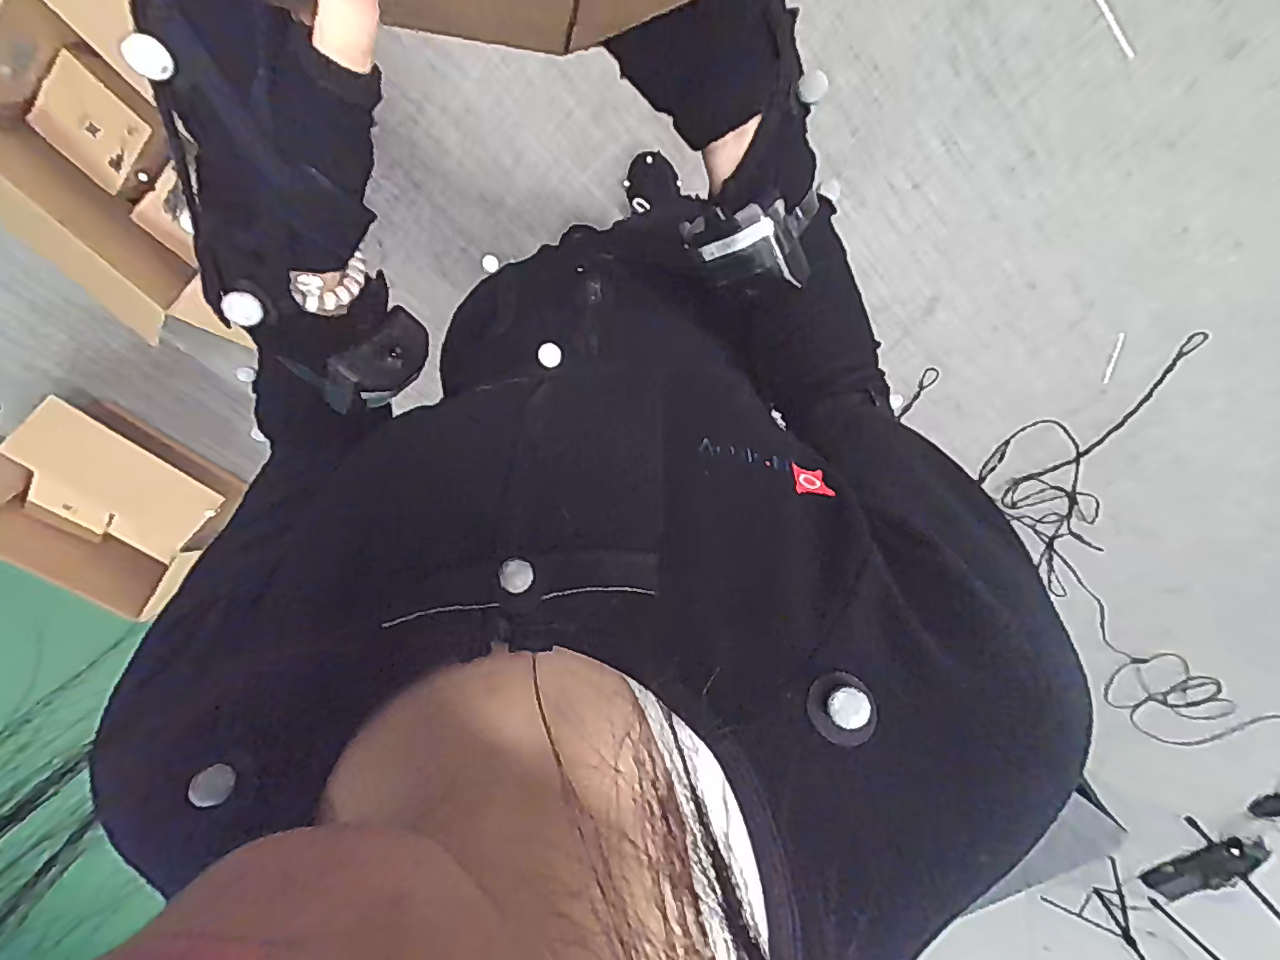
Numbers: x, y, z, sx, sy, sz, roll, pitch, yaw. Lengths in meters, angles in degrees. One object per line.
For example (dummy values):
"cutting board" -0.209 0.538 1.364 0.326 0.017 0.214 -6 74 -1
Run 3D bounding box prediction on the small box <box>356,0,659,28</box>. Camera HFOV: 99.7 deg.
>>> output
"small box" -0.044 -0.265 0.160 0.168 0.179 0.176 -25 123 -37
